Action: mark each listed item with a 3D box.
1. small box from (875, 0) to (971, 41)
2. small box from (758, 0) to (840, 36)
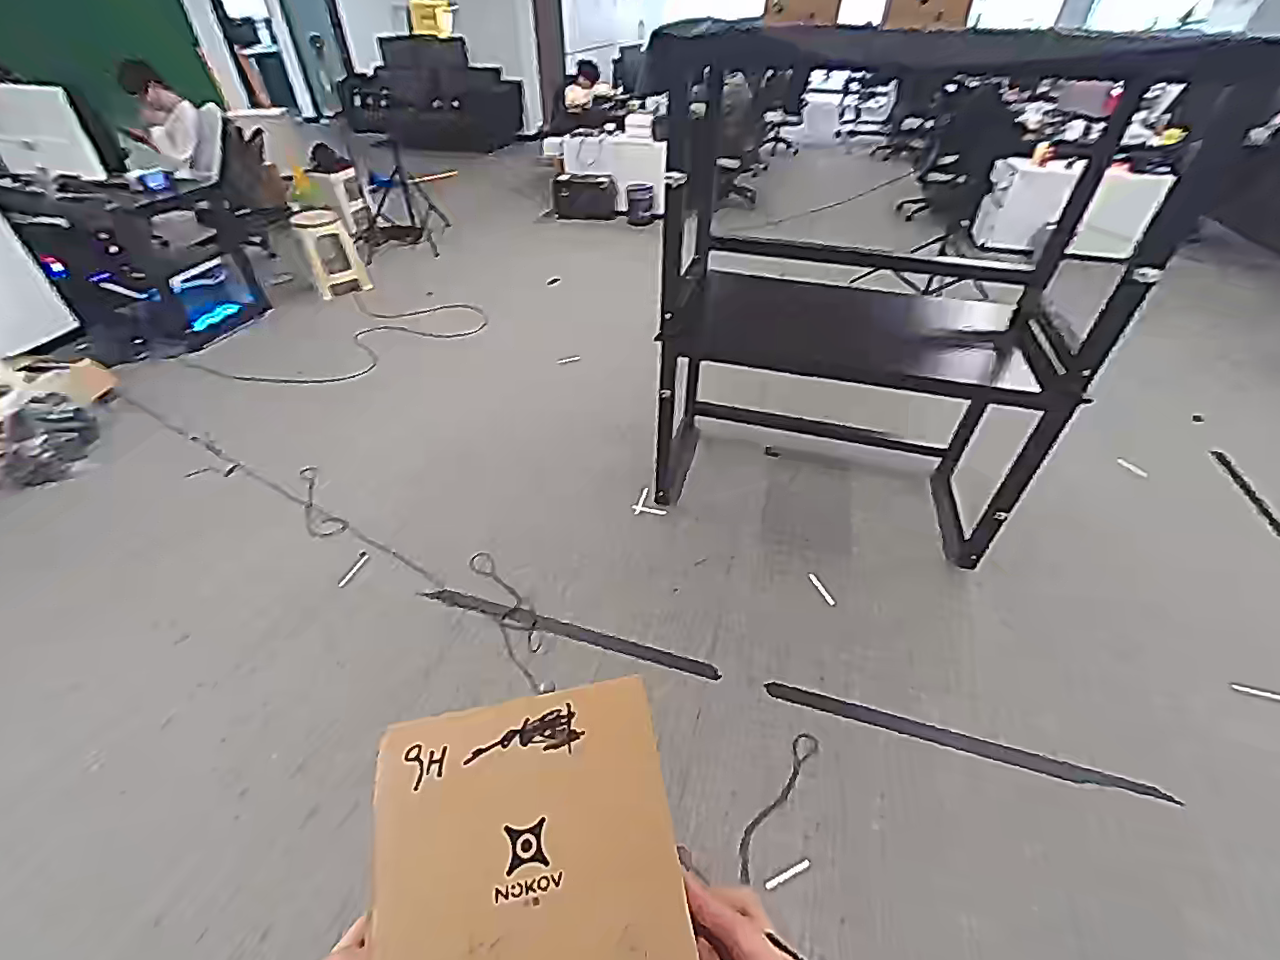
[{"bbox_3d":[0.604,-1.037,1.135,0.168,0.176,0.179,11,41,11],"label":"small box"},{"bbox_3d":[0.355,-1.080,1.177,0.168,0.176,0.179,10,40,9],"label":"small box"}]
